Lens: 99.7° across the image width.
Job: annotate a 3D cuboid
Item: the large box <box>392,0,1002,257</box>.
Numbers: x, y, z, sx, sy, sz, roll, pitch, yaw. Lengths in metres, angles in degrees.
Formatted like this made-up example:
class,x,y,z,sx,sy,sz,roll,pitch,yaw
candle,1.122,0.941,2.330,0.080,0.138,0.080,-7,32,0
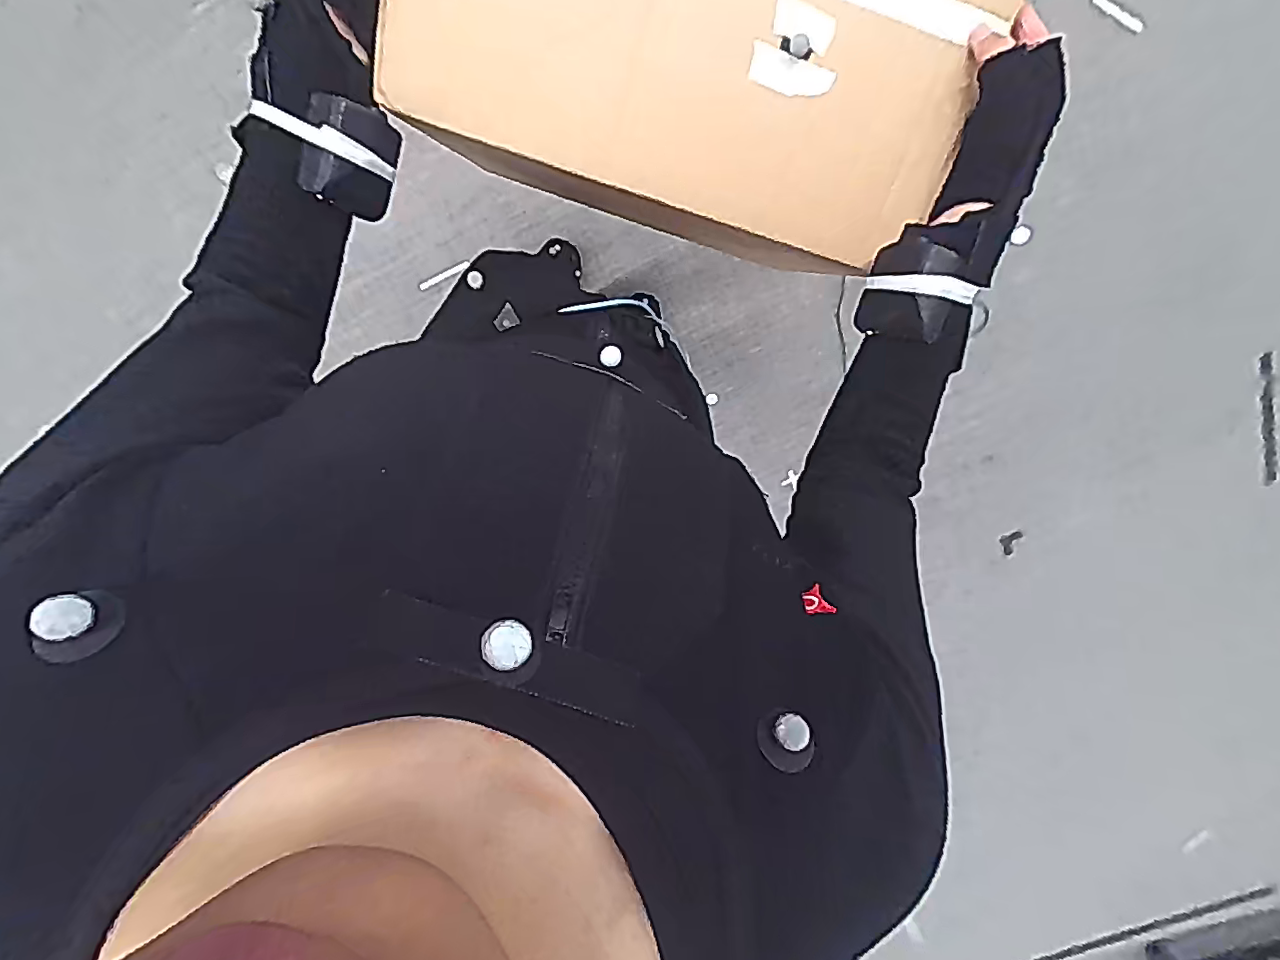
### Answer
class,x,y,z,sx,sy,sz,roll,pitch,yaw
large box,0.044,-0.414,0.489,0.408,0.320,0.320,13,112,-9
